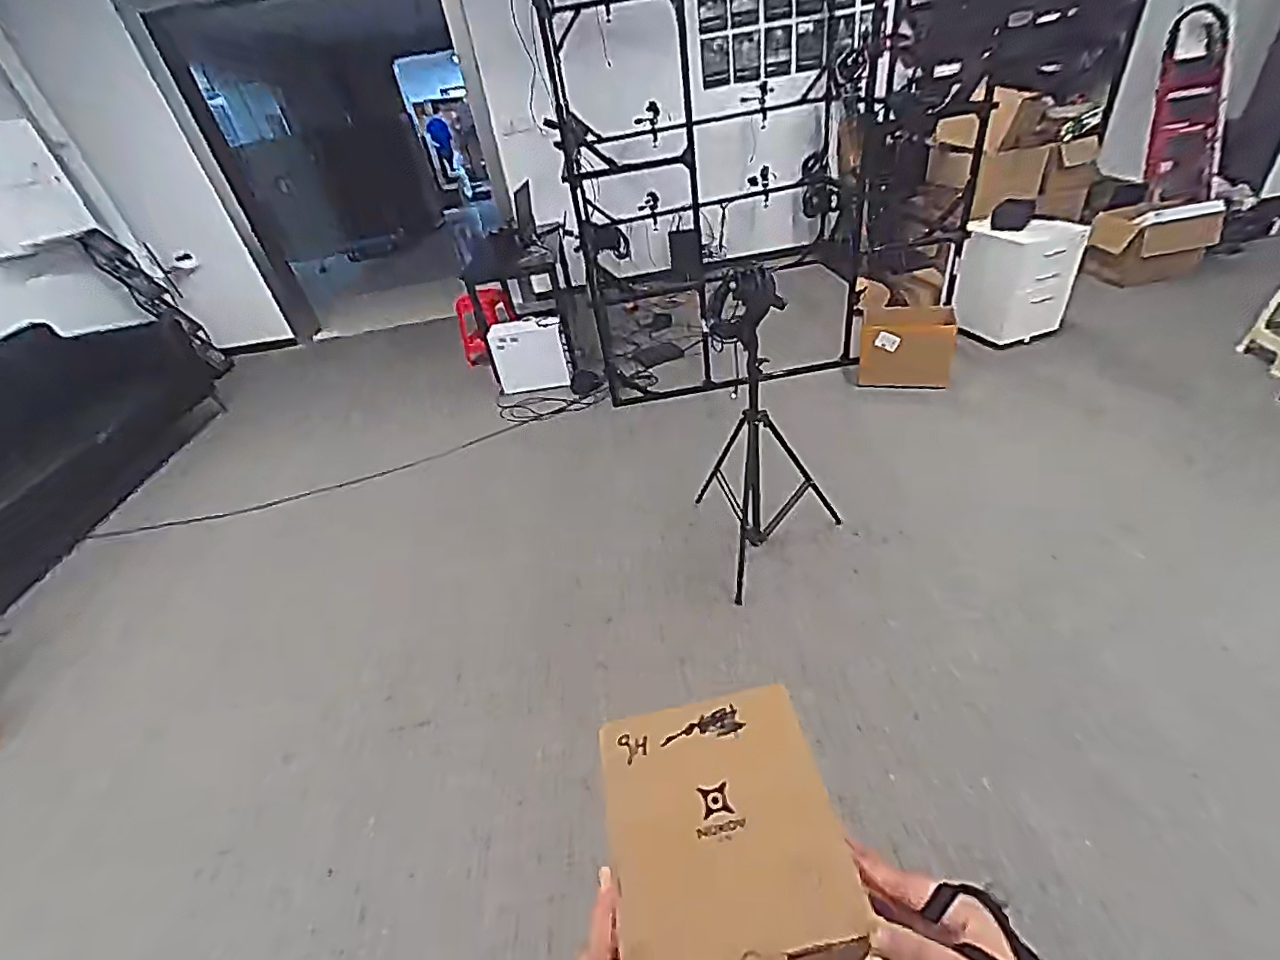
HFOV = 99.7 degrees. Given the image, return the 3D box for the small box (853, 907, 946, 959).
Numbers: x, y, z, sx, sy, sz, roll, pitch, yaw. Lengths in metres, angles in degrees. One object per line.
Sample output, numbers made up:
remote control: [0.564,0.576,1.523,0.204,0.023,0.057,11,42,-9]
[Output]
small box: [0.387,0.803,0.838,0.168,0.176,0.179,-8,36,2]

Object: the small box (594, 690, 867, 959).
small box: [0.064,0.310,0.449,0.168,0.176,0.179,-12,41,-2]
